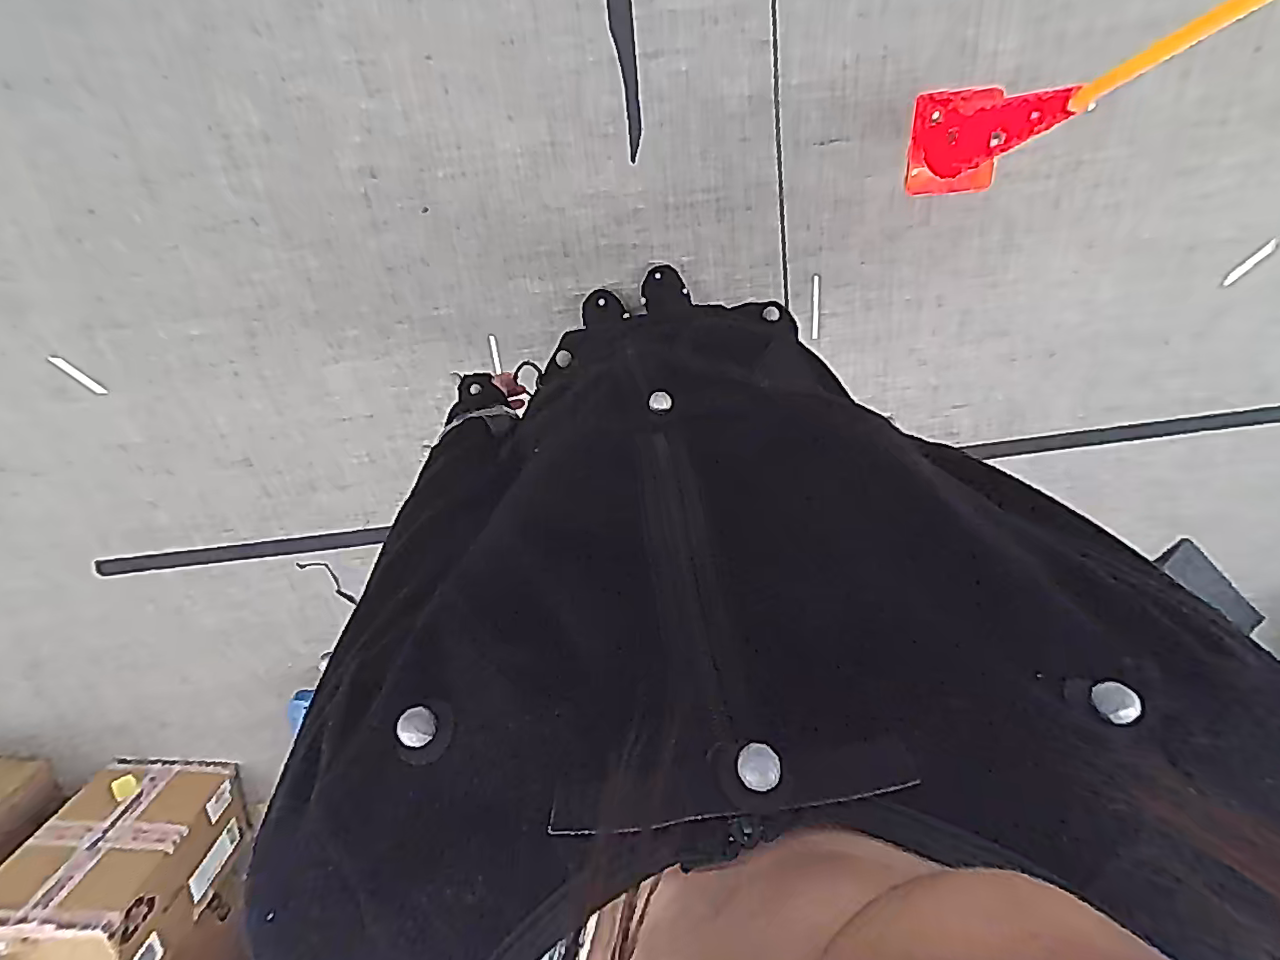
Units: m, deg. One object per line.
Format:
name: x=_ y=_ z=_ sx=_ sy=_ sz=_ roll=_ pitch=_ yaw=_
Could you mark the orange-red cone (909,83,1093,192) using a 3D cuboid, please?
orange-red cone: x=0.708 y=-0.684 z=1.034 sx=0.198 sy=0.360 sz=0.199 roll=-3 pitch=113 yaw=-1
